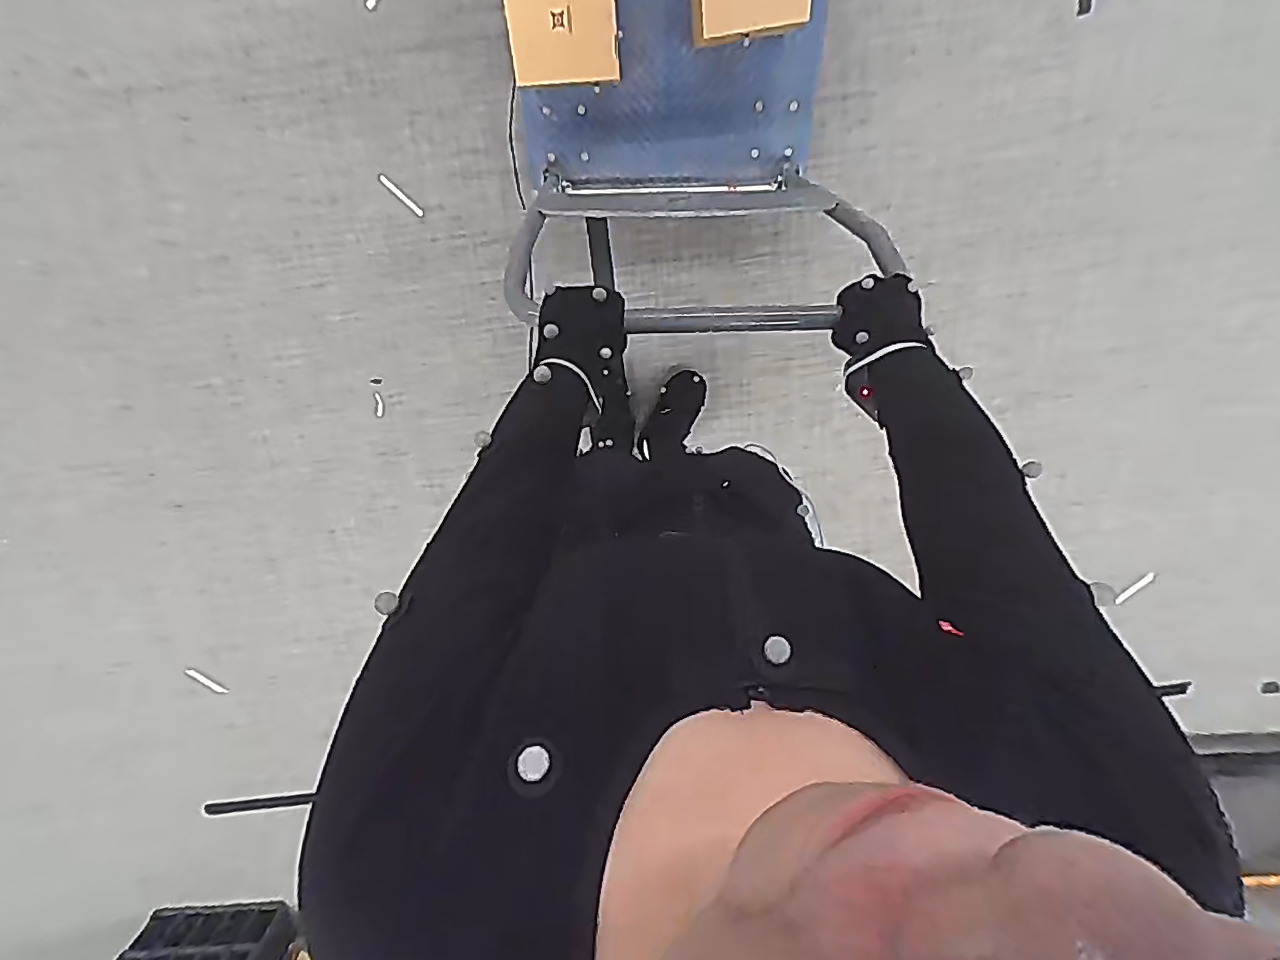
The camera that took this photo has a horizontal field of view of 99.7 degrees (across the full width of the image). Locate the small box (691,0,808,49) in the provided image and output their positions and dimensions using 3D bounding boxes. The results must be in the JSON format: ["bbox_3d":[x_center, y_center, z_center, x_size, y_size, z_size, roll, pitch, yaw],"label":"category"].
[{"bbox_3d":[0.174,-0.838,0.899,0.179,0.176,0.168,-7,124,3],"label":"small box"}]

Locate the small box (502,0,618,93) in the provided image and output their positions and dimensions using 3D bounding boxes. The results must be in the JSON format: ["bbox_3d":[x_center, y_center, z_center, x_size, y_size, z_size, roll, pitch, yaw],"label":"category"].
[{"bbox_3d":[-0.130,-0.779,0.935,0.179,0.176,0.168,-4,124,0],"label":"small box"}]
